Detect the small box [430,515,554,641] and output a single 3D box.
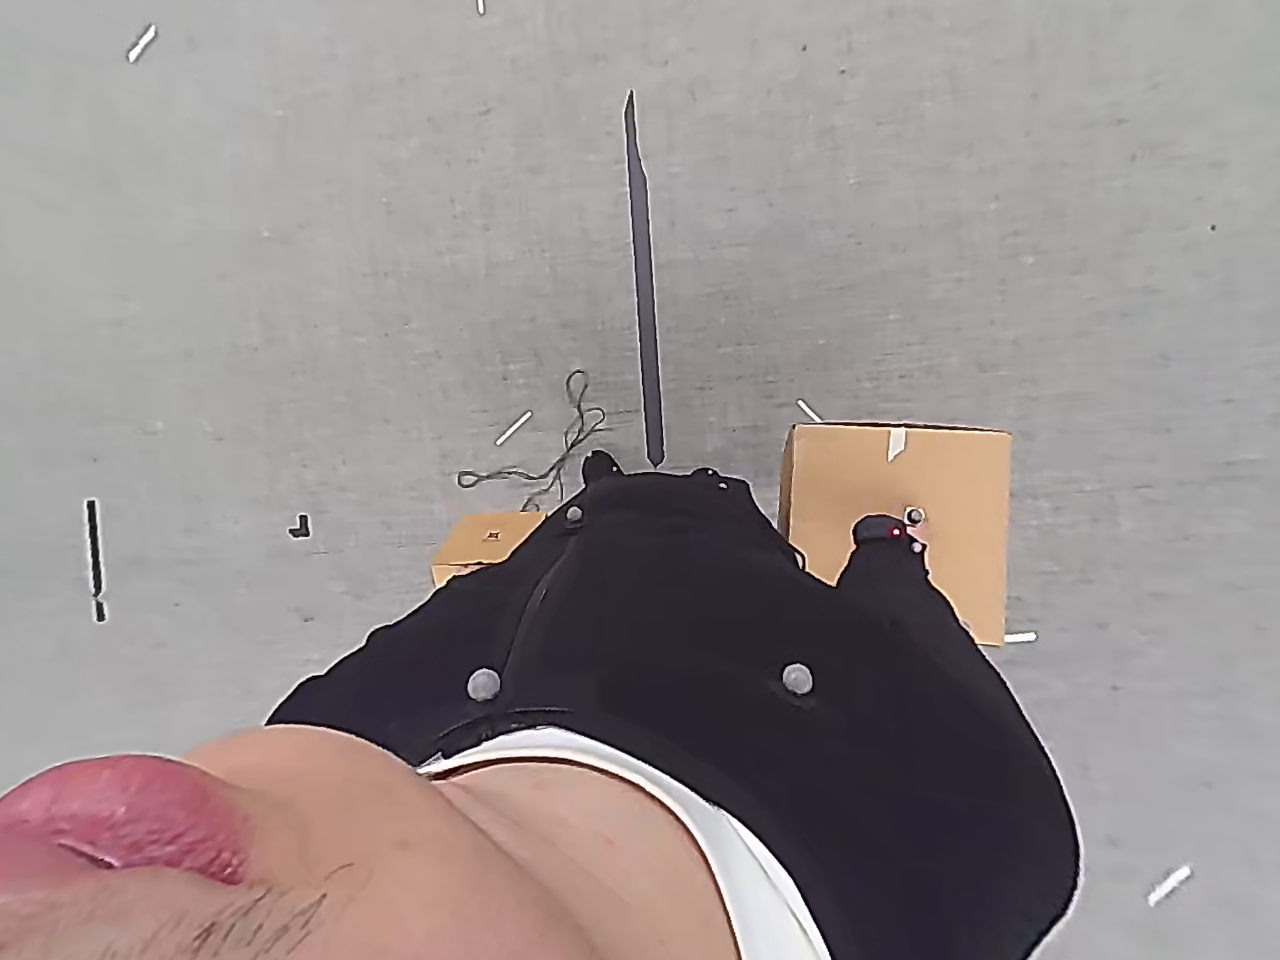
[{"bbox_3d":[-0.259,0.181,0.995,0.168,0.179,0.176,-2,113,3],"label":"small box"}]
